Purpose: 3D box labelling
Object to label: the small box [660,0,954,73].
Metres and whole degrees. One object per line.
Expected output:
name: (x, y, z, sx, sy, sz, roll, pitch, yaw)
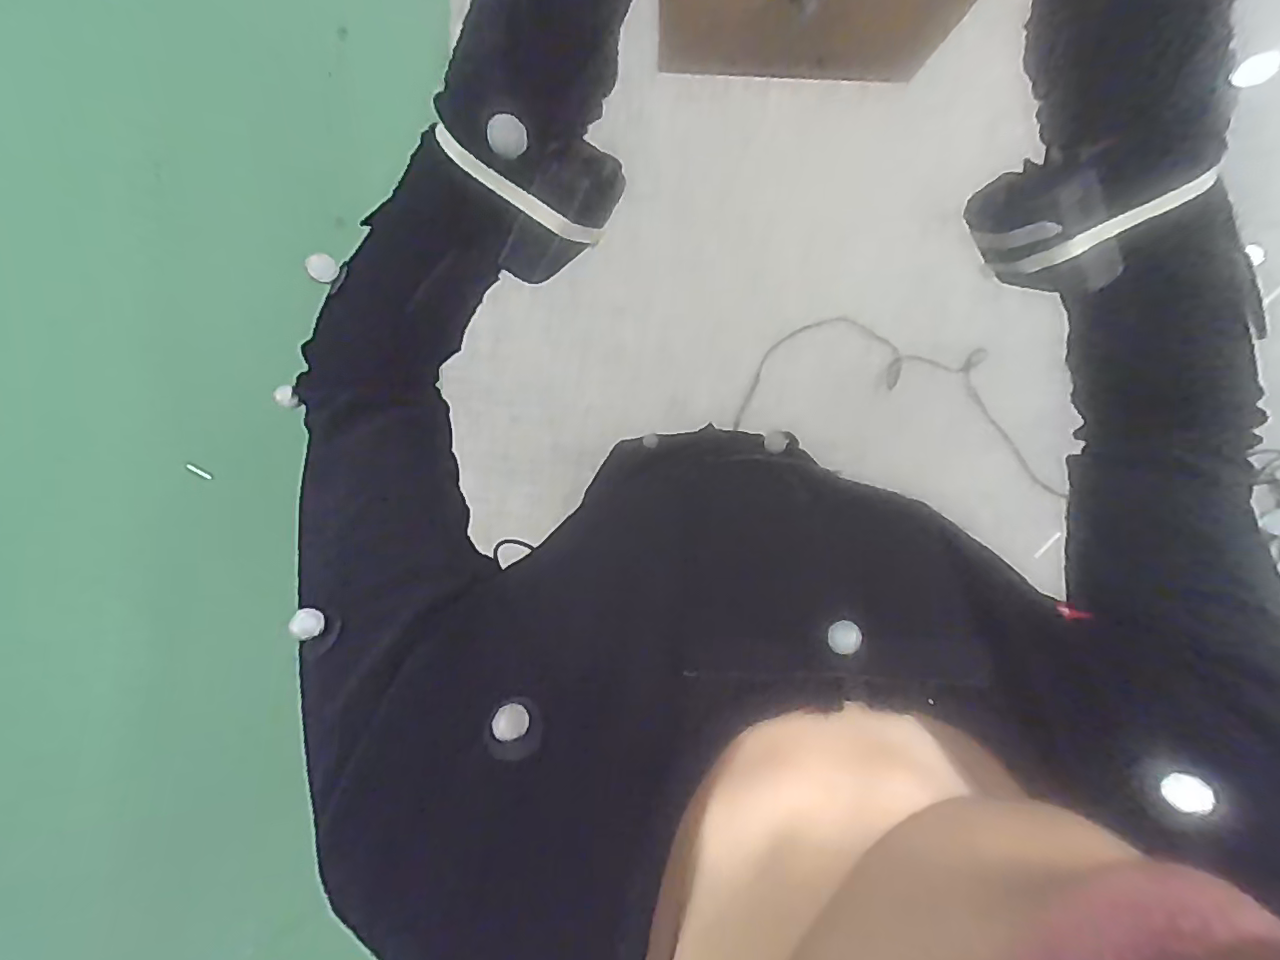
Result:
small box: (0.097, -0.339, 0.262, 0.168, 0.176, 0.179, 2, 97, 0)
